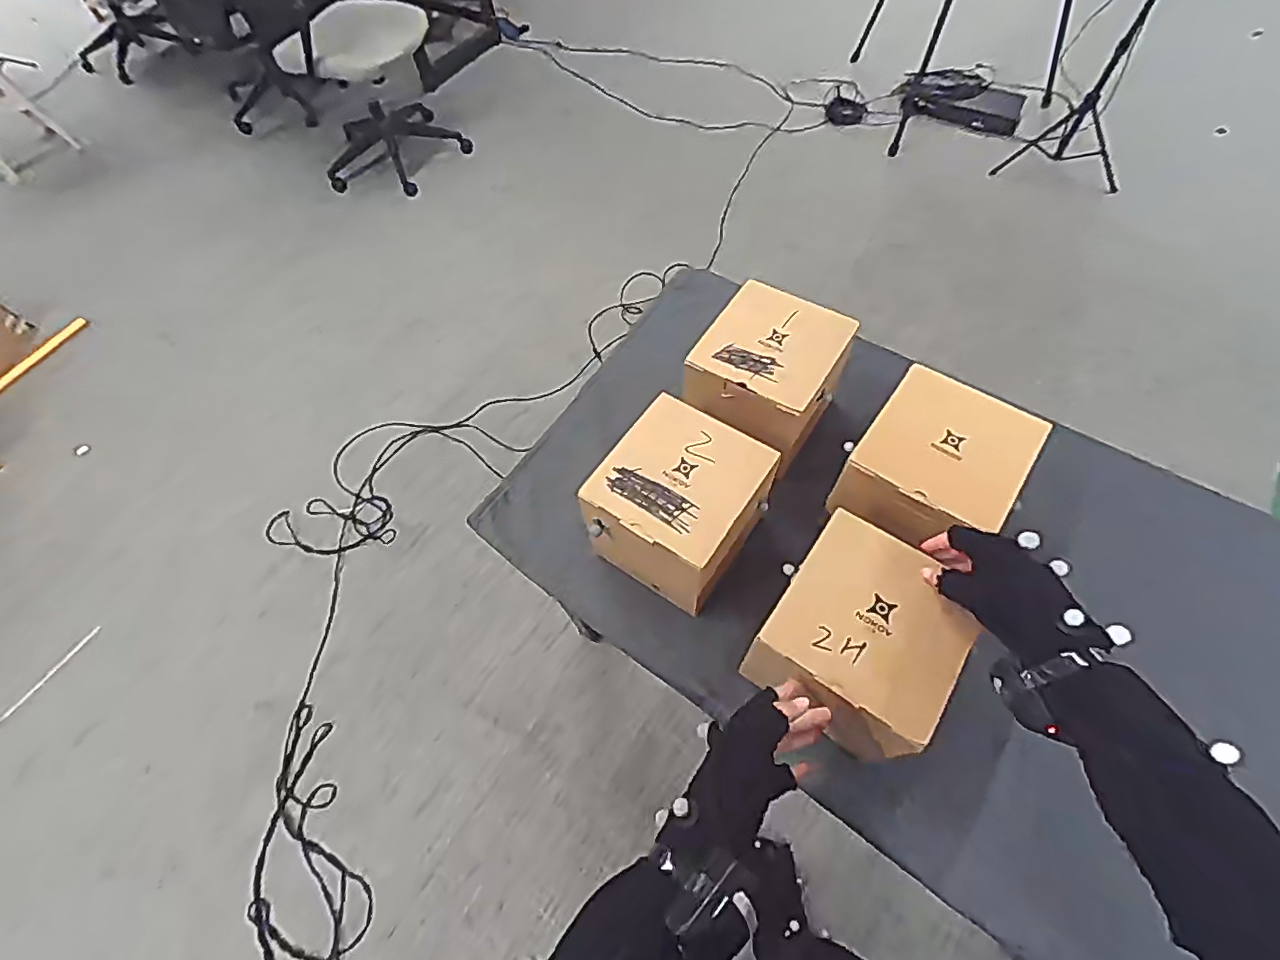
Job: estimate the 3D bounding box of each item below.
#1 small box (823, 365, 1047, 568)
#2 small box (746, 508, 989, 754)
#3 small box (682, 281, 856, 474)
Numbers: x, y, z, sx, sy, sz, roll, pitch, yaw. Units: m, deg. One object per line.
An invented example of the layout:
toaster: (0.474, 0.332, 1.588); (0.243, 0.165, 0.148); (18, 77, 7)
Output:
small box: (0.354, -0.003, 0.681); (0.168, 0.176, 0.179); (33, 69, 19)
small box: (0.231, 0.169, 0.591); (0.168, 0.176, 0.179); (31, 67, 20)
small box: (0.175, -0.139, 0.767); (0.168, 0.176, 0.179); (30, 67, 18)
